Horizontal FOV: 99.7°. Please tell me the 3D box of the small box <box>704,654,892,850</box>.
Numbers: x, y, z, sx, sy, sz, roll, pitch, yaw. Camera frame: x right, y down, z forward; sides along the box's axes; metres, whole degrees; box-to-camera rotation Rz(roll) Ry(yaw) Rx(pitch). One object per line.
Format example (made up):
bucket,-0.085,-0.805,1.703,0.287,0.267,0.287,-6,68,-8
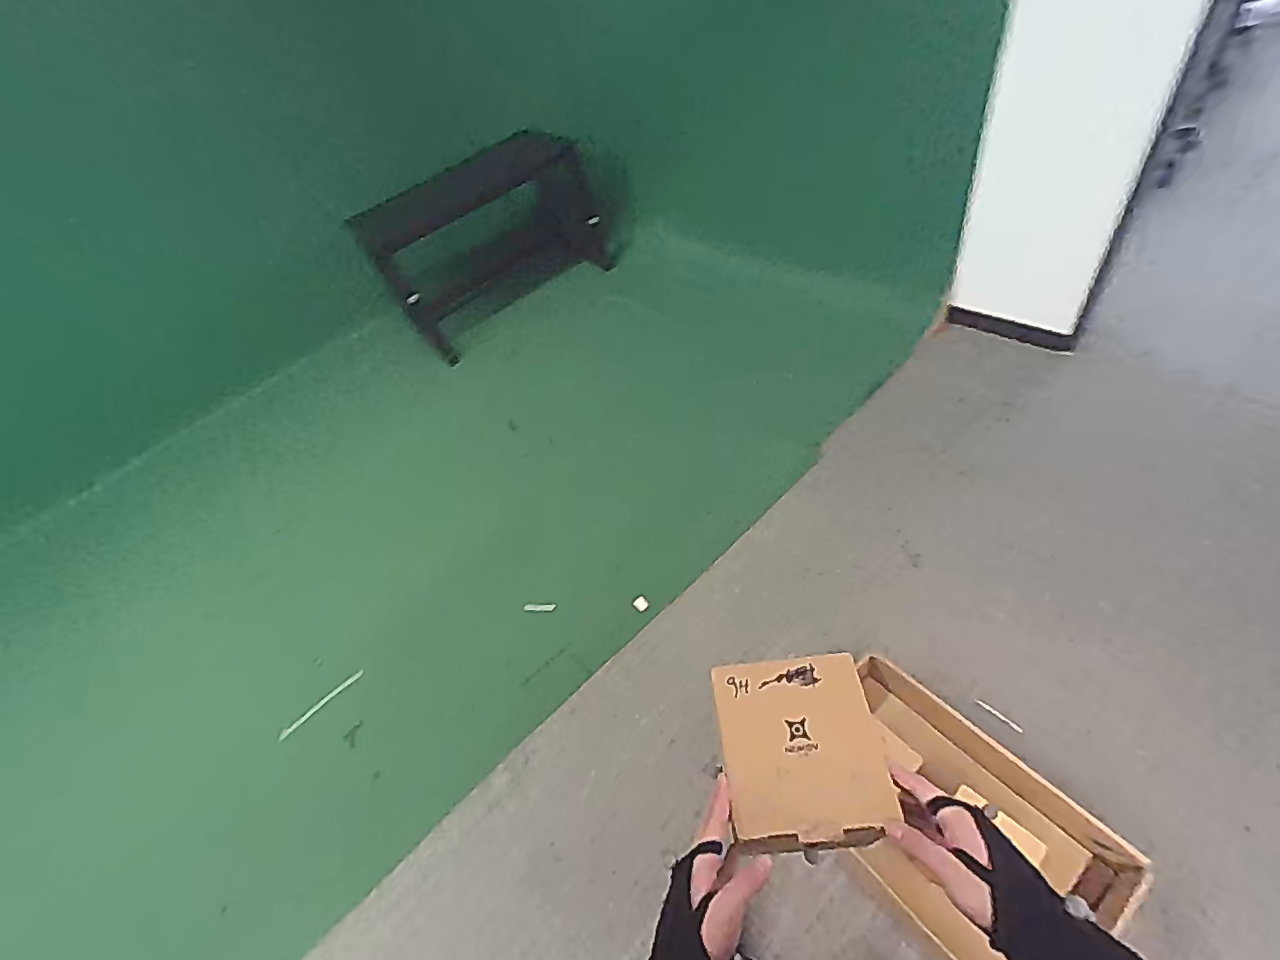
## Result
small box,0.171,0.327,0.639,0.168,0.176,0.179,-7,51,3
